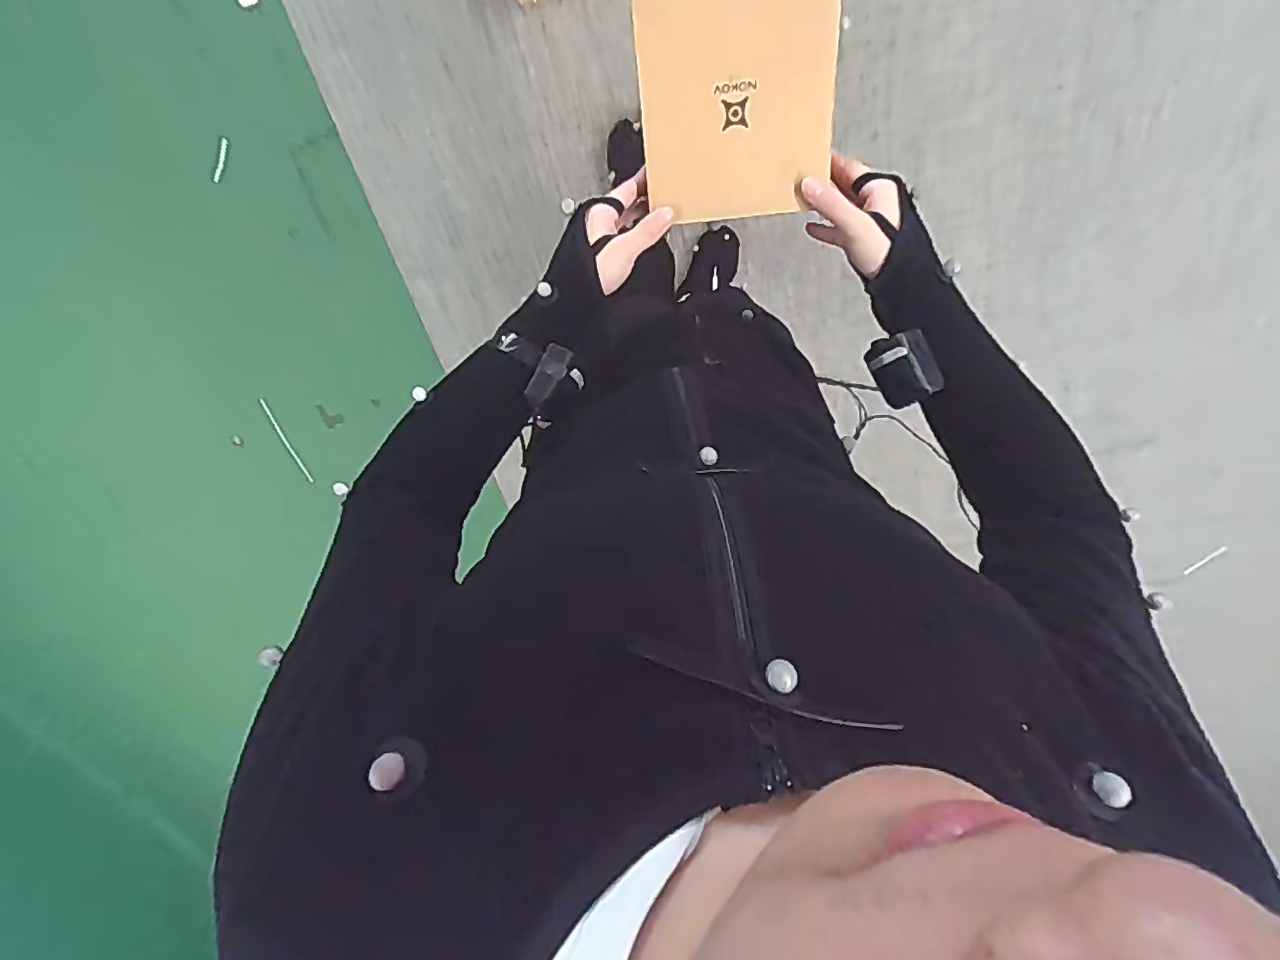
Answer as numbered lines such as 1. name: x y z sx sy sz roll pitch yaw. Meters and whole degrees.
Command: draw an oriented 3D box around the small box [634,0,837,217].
1. small box: 0.093 -0.373 0.537 0.168 0.176 0.179 -2 120 9
